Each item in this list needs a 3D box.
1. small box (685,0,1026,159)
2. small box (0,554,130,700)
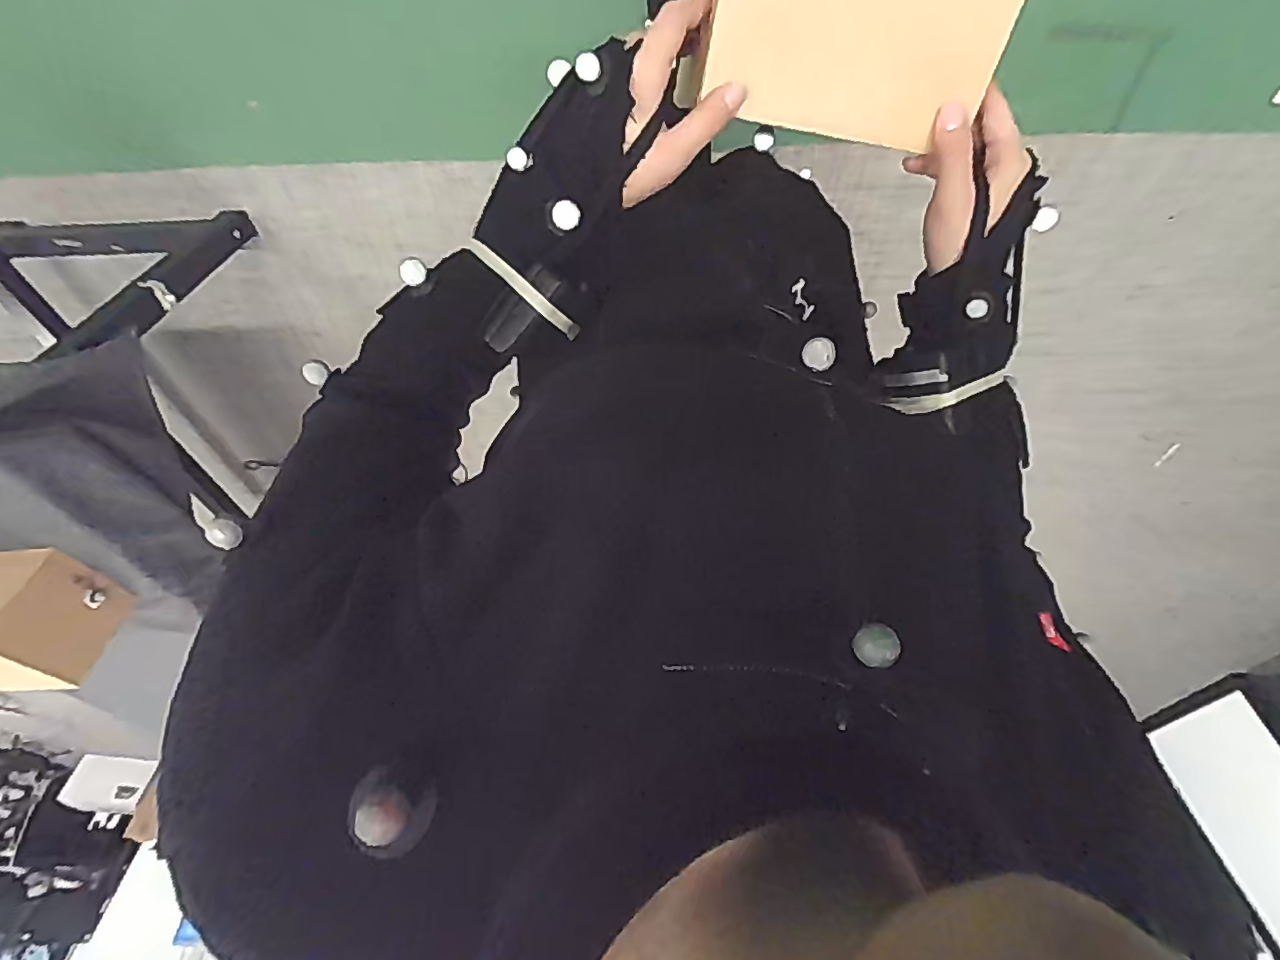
[{"bbox_3d":[0.126,-0.321,0.340,0.168,0.176,0.179,7,124,-6],"label":"small box"},{"bbox_3d":[-0.988,0.233,0.855,0.179,0.176,0.168,-6,139,7],"label":"small box"}]
